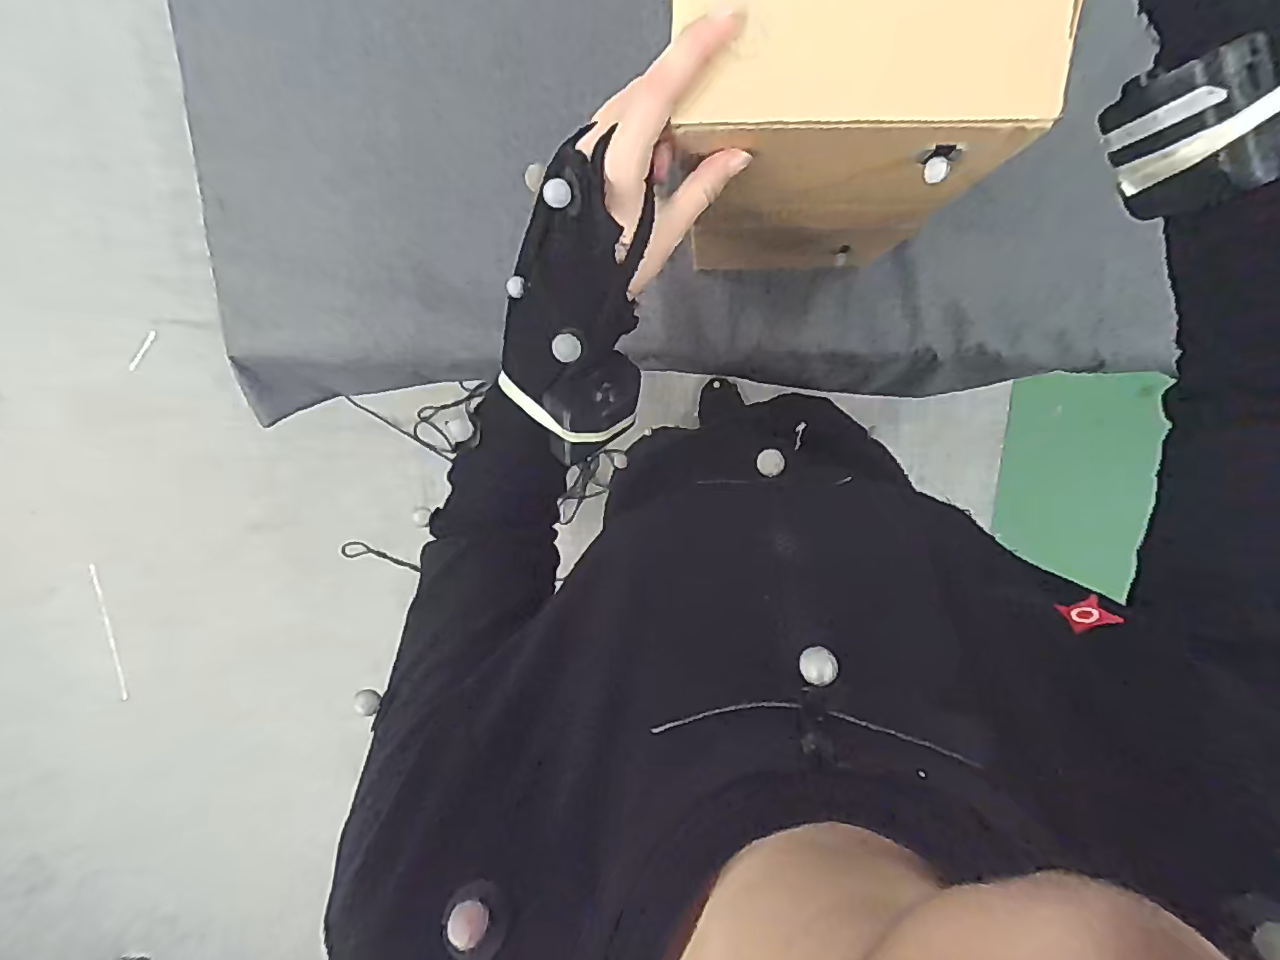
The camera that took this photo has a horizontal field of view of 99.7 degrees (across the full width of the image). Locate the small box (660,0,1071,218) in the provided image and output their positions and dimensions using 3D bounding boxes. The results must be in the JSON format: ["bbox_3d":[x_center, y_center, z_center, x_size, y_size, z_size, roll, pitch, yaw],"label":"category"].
[{"bbox_3d":[0.107,-0.261,0.310,0.179,0.176,0.168,2,101,6],"label":"small box"}]

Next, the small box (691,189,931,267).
[{"bbox_3d":[0.135,-0.288,0.468,0.179,0.176,0.168,1,101,8],"label":"small box"}]
